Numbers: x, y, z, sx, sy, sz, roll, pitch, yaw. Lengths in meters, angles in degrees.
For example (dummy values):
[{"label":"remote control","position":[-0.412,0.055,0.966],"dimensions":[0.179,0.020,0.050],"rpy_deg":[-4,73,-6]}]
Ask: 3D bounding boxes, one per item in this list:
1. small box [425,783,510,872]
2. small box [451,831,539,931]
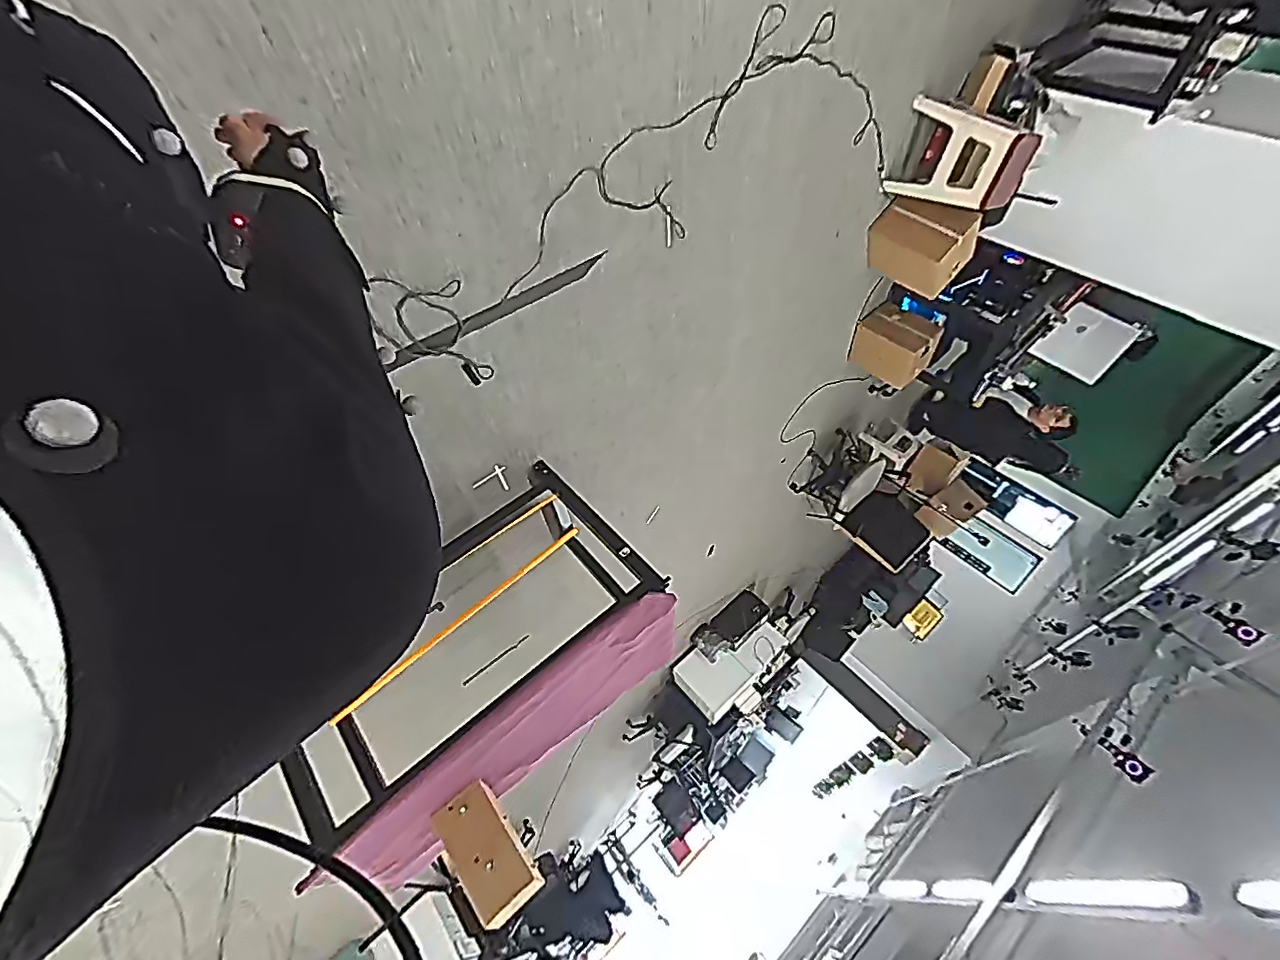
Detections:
[{"label":"small box","position":[-0.525,1.064,1.653],"dimensions":[0.168,0.176,0.179],"rpy_deg":[-34,147,-25]},{"label":"small box","position":[-0.419,1.160,1.570],"dimensions":[0.168,0.176,0.179],"rpy_deg":[-35,147,-25]}]
